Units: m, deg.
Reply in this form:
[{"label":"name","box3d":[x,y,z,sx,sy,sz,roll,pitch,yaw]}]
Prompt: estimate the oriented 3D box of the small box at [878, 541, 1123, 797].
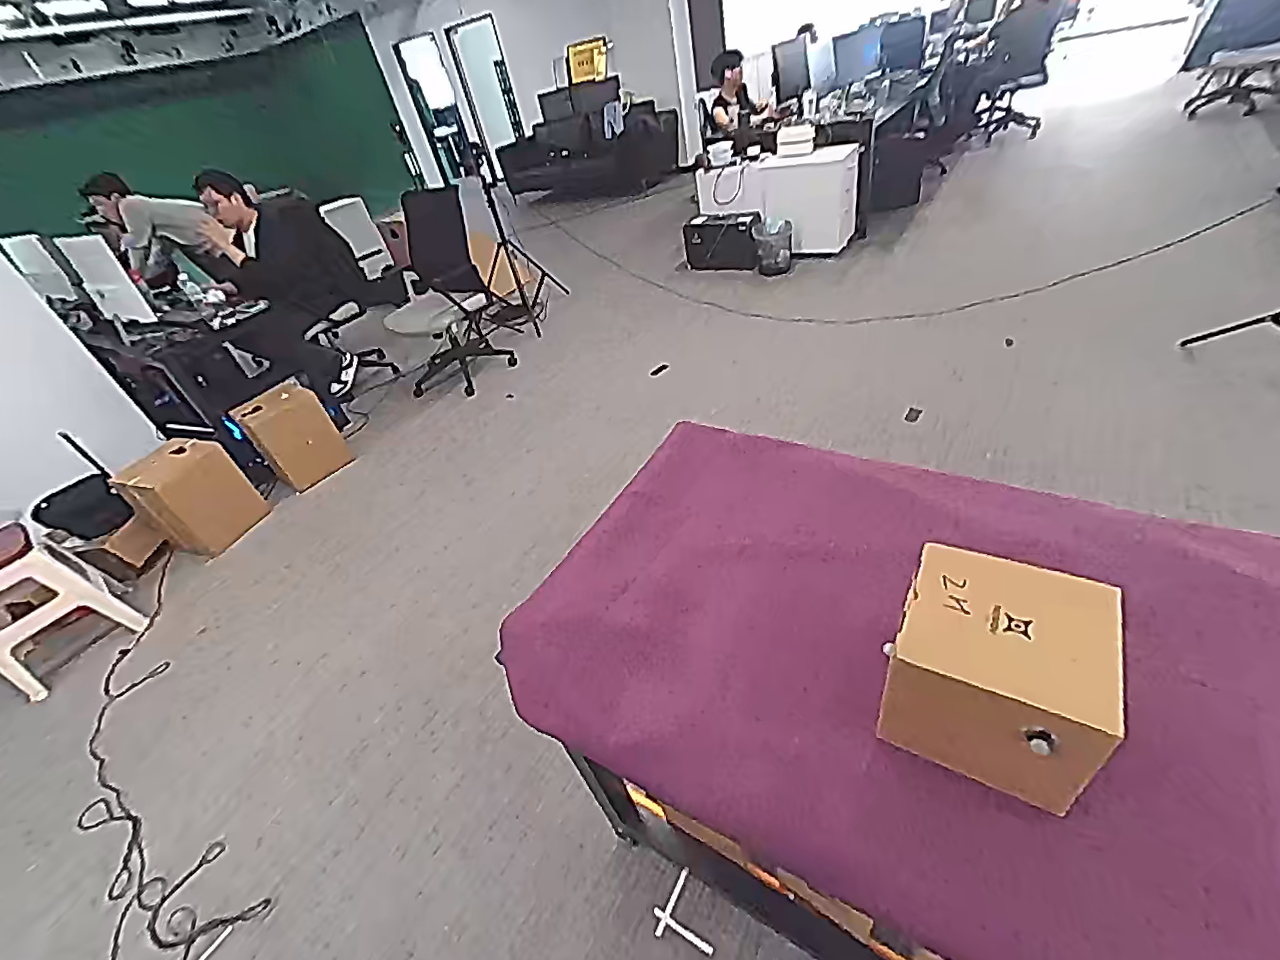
[{"label":"small box","box3d":[0.367,0.197,0.570,0.179,0.176,0.168,14,44,31]}]
